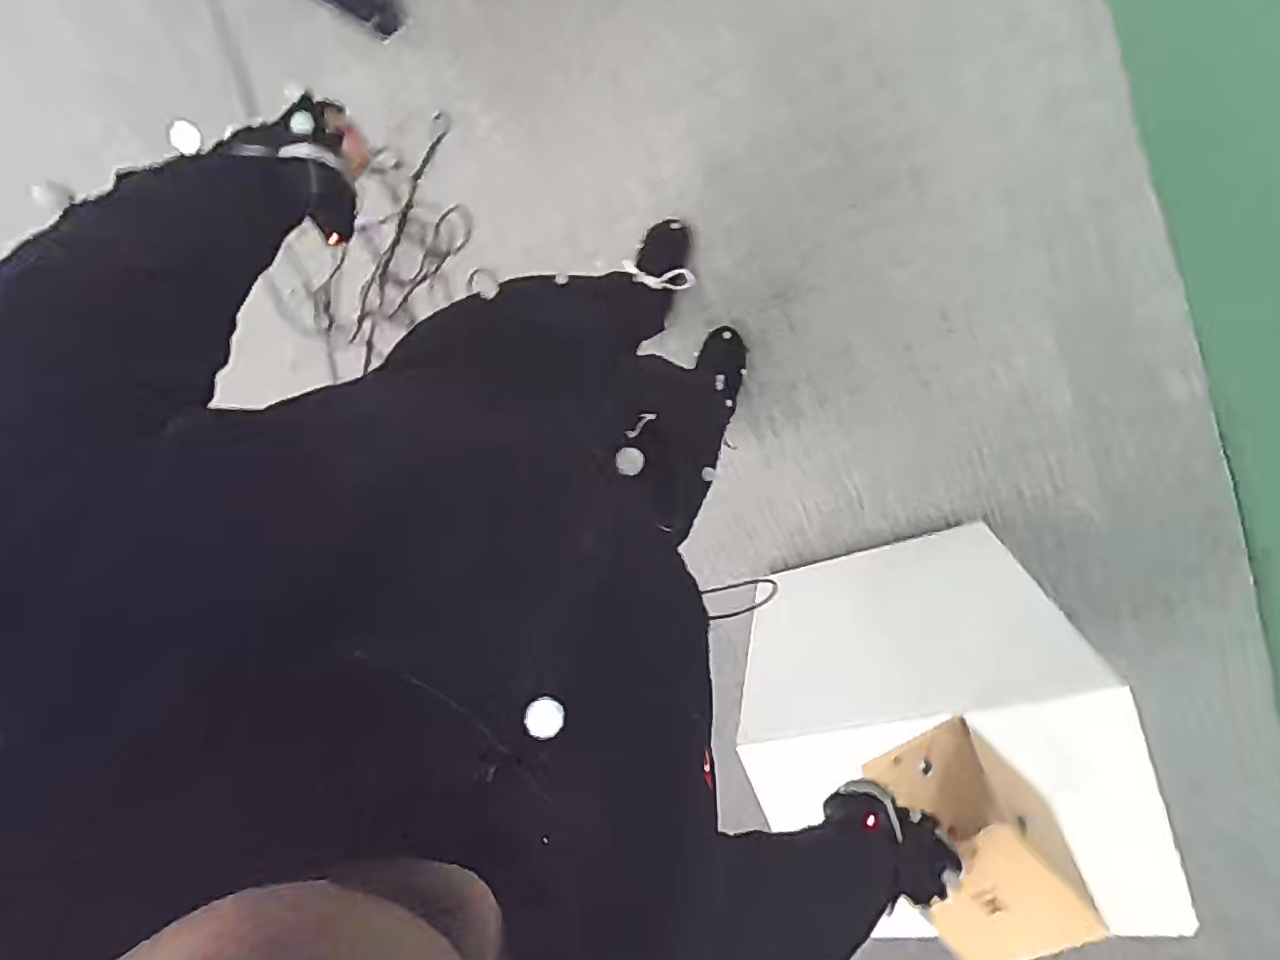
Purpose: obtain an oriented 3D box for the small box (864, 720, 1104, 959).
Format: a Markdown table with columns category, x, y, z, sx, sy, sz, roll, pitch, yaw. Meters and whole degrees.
| category | x | y | z | sx | sy | sz | roll | pitch | yaw |
| --- | --- | --- | --- | --- | --- | --- | --- | --- | --- |
| small box | 0.414 | 0.450 | 0.687 | 0.179 | 0.176 | 0.168 | 45 | 114 | -2 |
